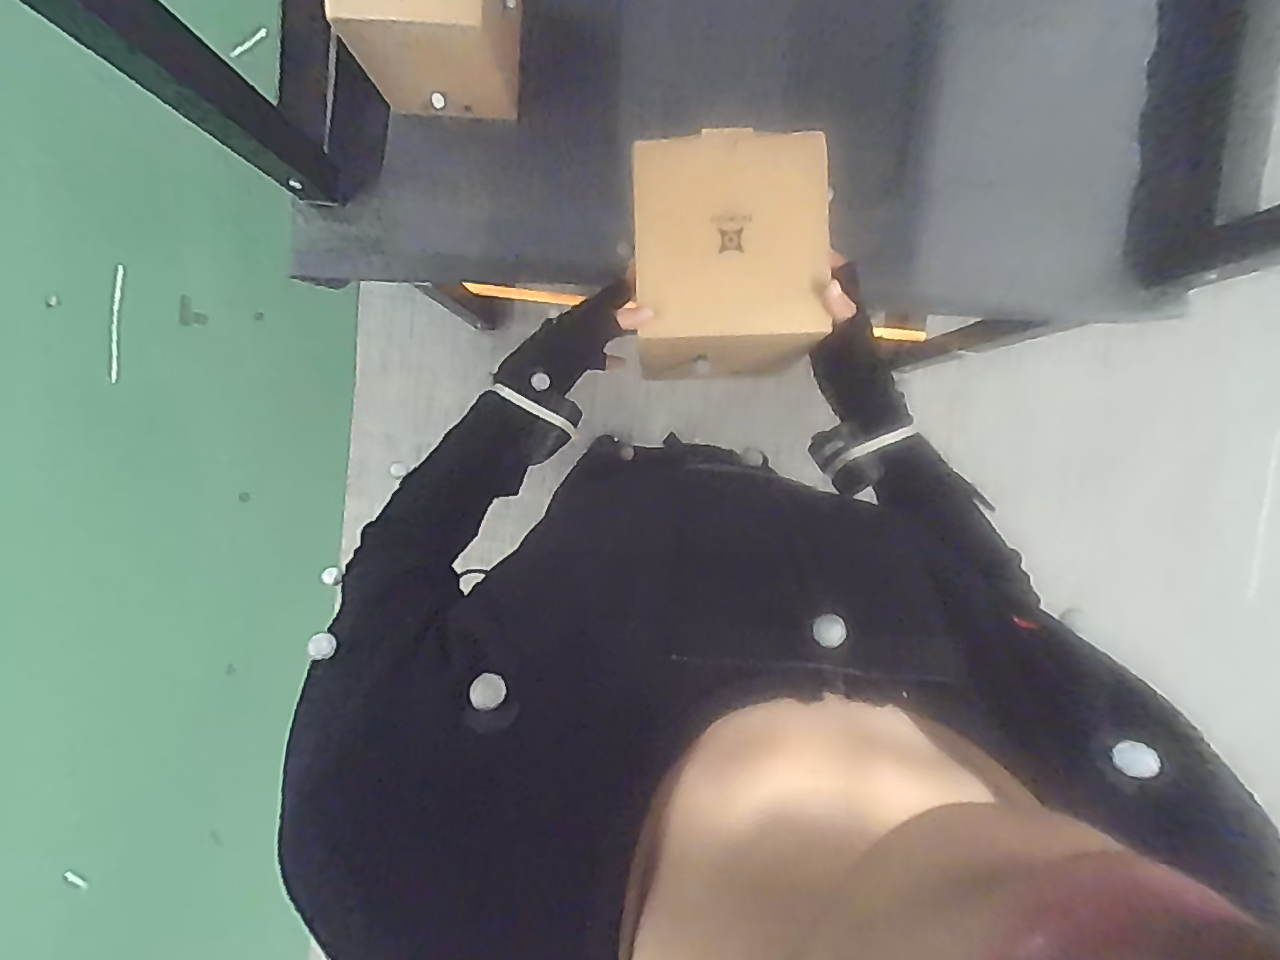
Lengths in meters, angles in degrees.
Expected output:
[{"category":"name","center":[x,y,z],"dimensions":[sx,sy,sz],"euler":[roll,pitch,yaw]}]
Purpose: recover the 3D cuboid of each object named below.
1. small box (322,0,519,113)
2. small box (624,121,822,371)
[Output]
[{"category":"small box","center":[-0.241,-0.571,0.628],"dimensions":[0.168,0.176,0.179],"euler":[4,95,0]},{"category":"small box","center":[0.074,-0.208,0.532],"dimensions":[0.168,0.176,0.179],"euler":[-1,87,3]}]
